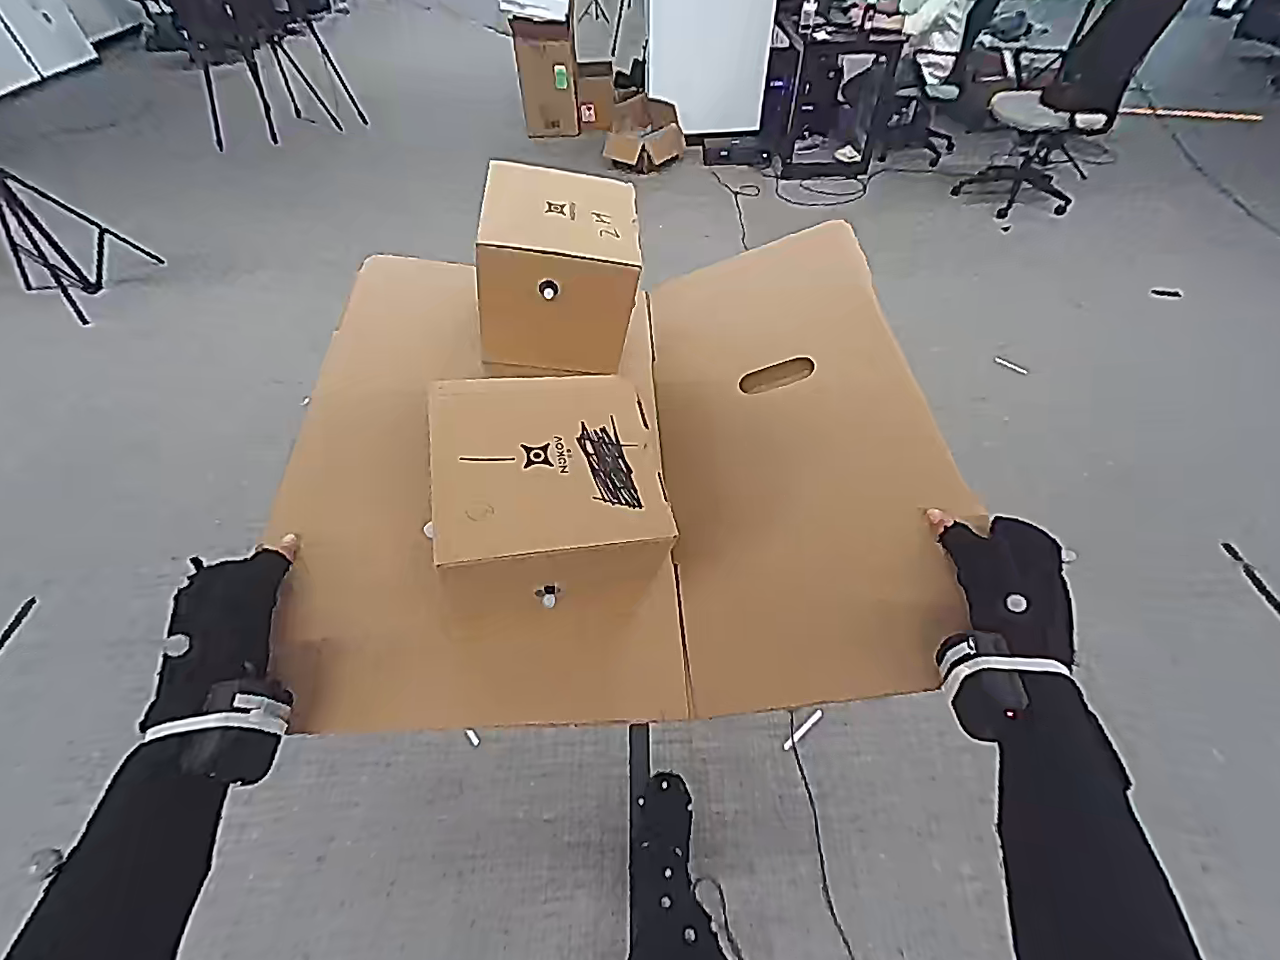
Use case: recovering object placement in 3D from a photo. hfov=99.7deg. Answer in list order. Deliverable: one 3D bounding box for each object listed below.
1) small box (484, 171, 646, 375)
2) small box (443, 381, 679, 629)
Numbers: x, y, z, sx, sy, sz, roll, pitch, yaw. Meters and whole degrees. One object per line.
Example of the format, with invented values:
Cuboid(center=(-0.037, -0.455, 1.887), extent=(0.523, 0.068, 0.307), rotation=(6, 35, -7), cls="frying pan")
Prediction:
Cuboid(center=(-0.096, -0.253, 0.686), extent=(0.179, 0.176, 0.168), rotation=(5, 56, -11), cls="small box")
Cuboid(center=(-0.083, 0.026, 0.504), extent=(0.179, 0.176, 0.168), rotation=(-5, 59, -16), cls="small box")
